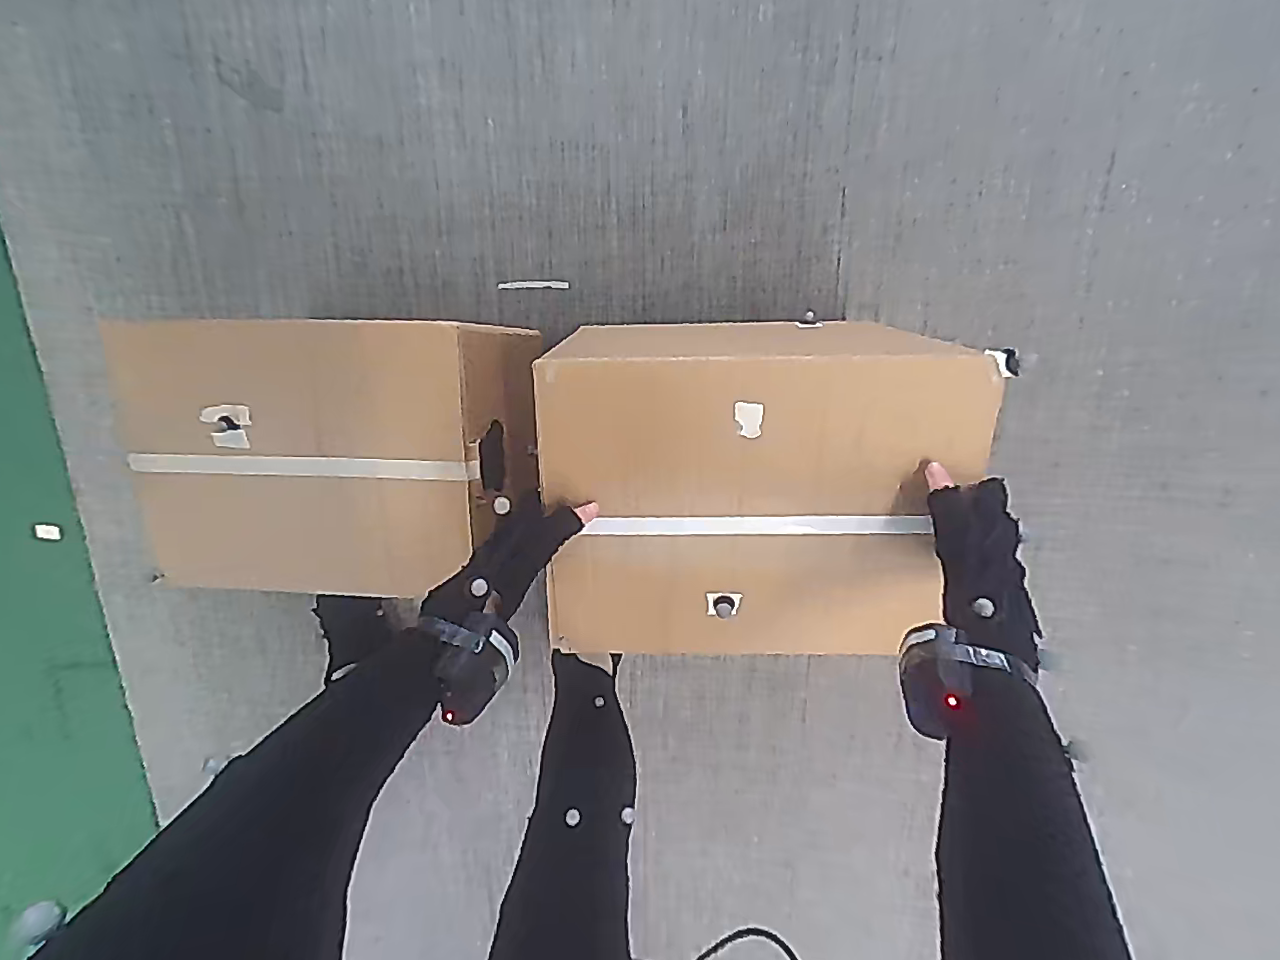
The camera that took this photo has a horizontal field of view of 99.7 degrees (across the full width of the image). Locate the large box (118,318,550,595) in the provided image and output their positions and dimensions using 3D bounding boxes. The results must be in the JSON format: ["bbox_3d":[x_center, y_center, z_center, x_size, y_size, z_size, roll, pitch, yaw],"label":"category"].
[{"bbox_3d":[-0.363,-0.058,0.754,0.408,0.320,0.320,3,104,6],"label":"large box"}]
